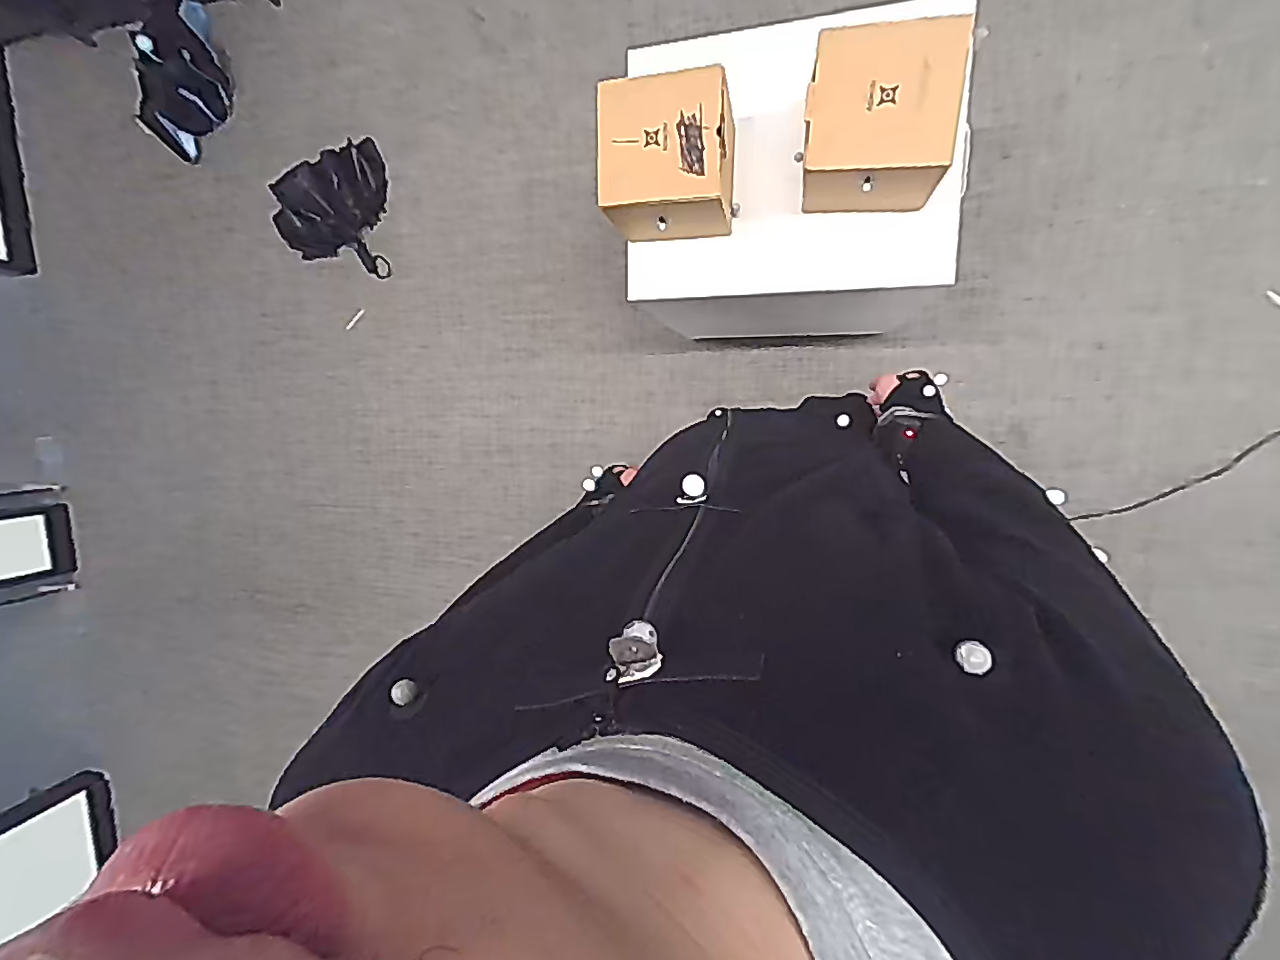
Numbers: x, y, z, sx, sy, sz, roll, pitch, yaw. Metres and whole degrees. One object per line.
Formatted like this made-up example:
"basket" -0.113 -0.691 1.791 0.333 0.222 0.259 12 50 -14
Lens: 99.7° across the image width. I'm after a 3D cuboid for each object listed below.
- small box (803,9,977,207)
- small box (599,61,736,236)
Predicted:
"small box" 0.320 -0.482 0.731 0.179 0.176 0.168 7 101 14
"small box" 0.048 -0.476 0.806 0.179 0.176 0.168 3 98 15
